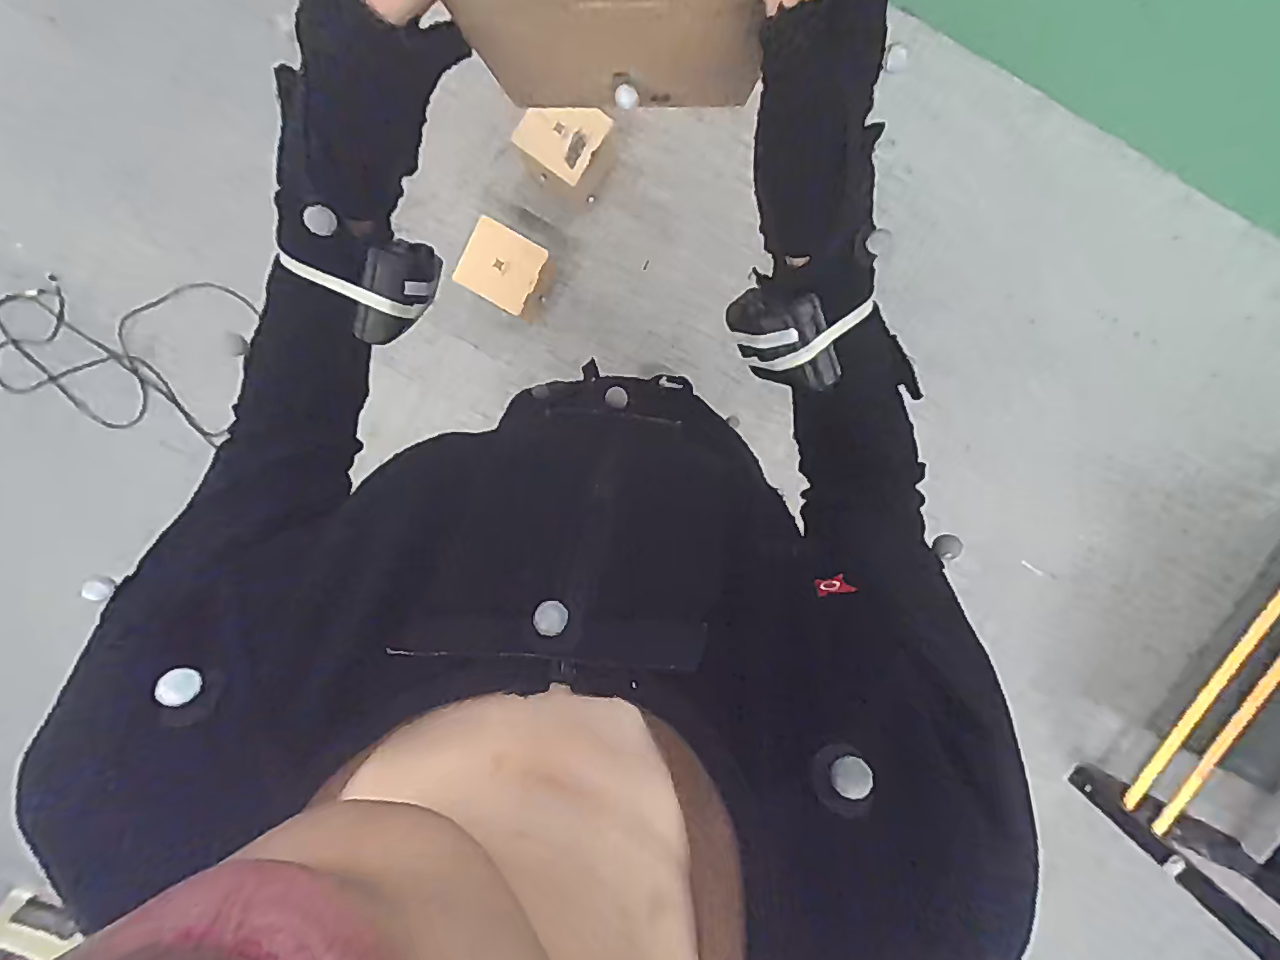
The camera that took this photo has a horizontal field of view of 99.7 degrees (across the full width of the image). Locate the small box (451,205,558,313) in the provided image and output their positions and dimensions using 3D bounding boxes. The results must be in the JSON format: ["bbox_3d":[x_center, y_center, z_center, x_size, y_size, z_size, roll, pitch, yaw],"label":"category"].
[{"bbox_3d":[-0.318,-0.519,1.304,0.179,0.176,0.168,28,100,-4],"label":"small box"}]

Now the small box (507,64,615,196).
[{"bbox_3d":[-0.173,-0.793,1.252,0.179,0.176,0.168,35,98,-4],"label":"small box"}]
